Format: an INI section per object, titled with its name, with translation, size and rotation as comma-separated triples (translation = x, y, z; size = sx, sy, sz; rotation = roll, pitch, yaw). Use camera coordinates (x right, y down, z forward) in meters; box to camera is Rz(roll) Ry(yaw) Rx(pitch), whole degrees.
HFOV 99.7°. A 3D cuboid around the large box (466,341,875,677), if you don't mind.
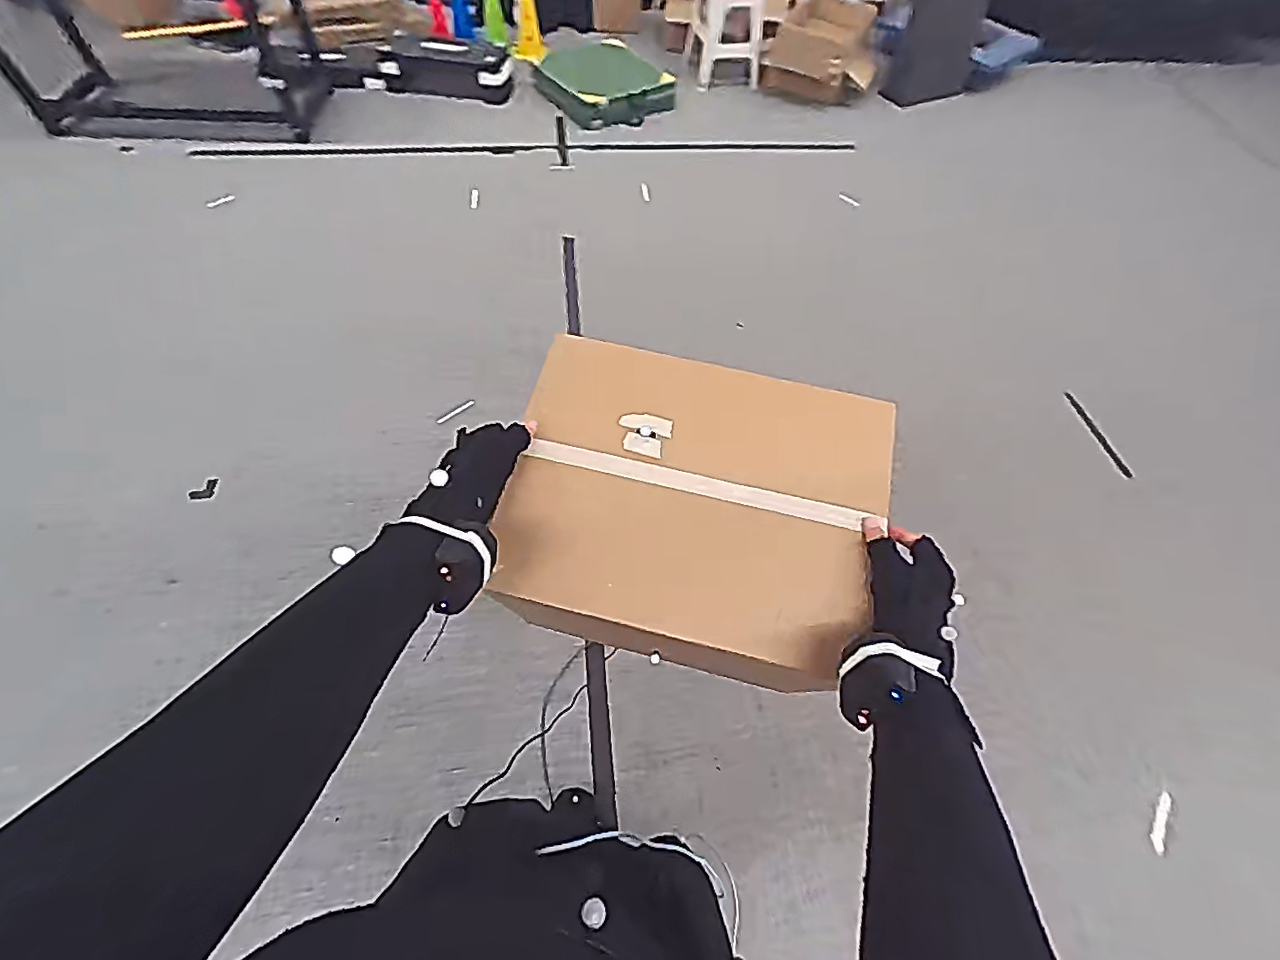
[large box]
translation = 0.051, 0.061, 0.727
size = 0.408, 0.320, 0.320
rotation = 13, 68, 6
